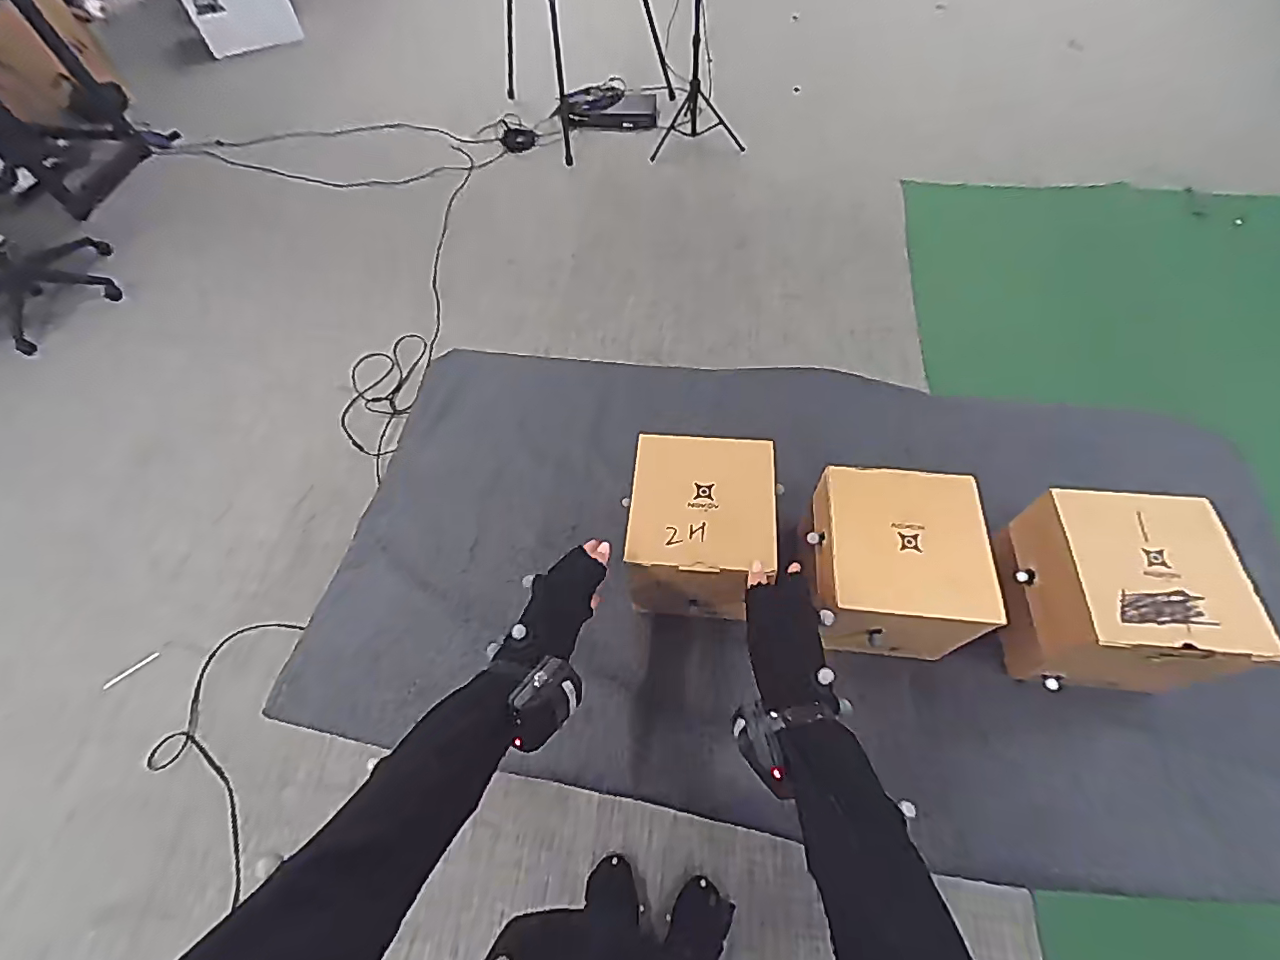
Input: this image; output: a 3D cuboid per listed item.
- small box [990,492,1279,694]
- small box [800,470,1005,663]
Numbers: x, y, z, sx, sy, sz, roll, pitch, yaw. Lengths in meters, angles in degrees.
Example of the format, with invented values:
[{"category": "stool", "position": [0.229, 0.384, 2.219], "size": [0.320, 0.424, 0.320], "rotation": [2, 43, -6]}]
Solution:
[{"category": "small box", "position": [0.529, 0.134, 0.614], "size": [0.168, 0.176, 0.179], "rotation": [4, 58, 6]}, {"category": "small box", "position": [0.292, 0.109, 0.646], "size": [0.168, 0.176, 0.179], "rotation": [4, 58, 6]}]
